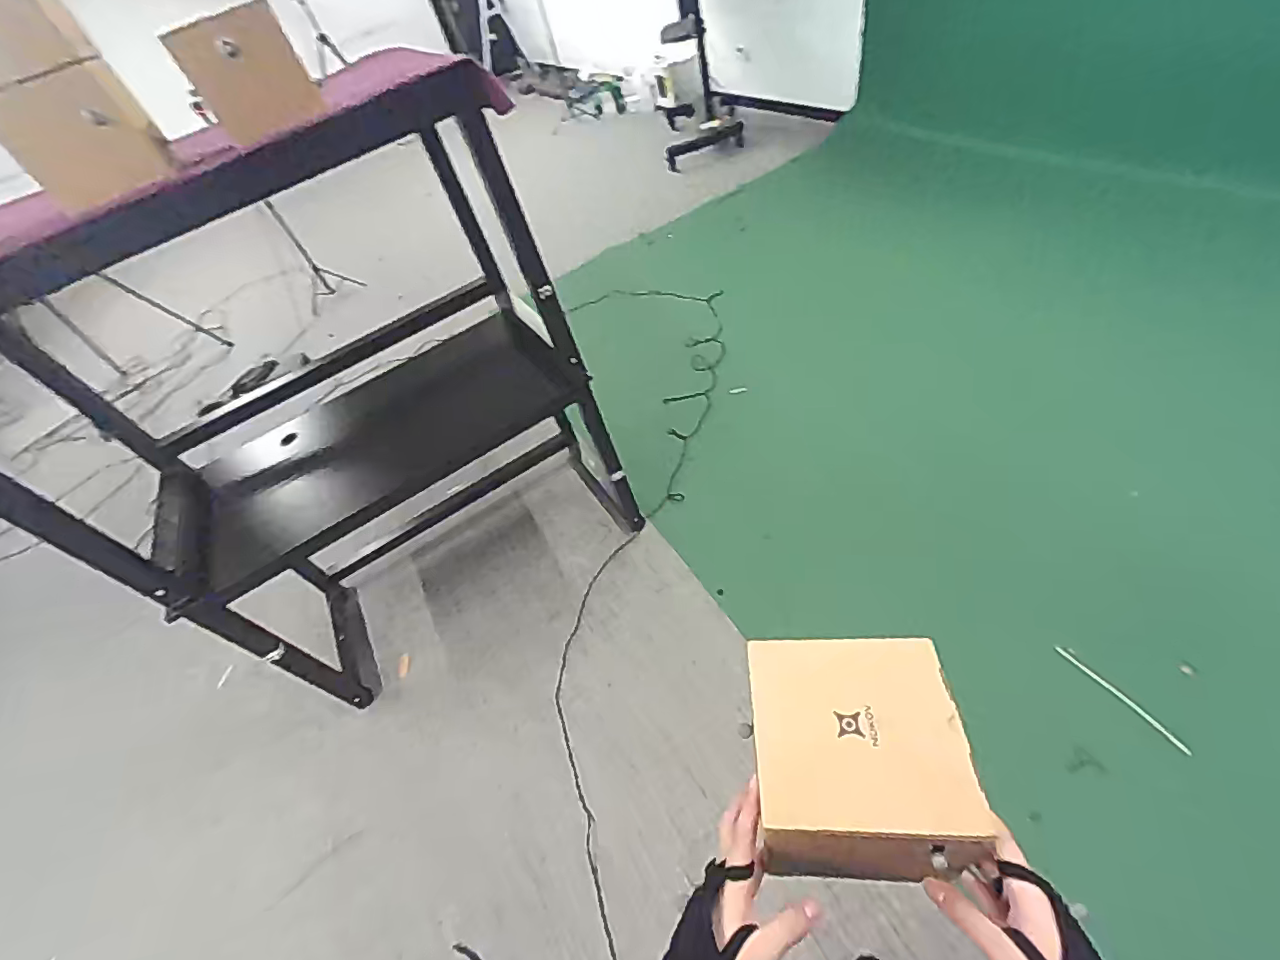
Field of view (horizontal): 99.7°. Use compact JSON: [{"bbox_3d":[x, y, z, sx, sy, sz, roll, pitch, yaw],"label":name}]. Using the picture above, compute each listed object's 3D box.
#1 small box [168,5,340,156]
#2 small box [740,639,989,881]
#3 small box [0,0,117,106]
[{"bbox_3d":[-0.669,-0.703,0.954,0.179,0.176,0.168,-30,49,-9],"label":"small box"},{"bbox_3d":[0.194,0.272,0.525,0.179,0.176,0.168,-4,44,8],"label":"small box"},{"bbox_3d":[-0.946,-0.678,0.796,0.179,0.176,0.168,-31,47,-9],"label":"small box"}]
